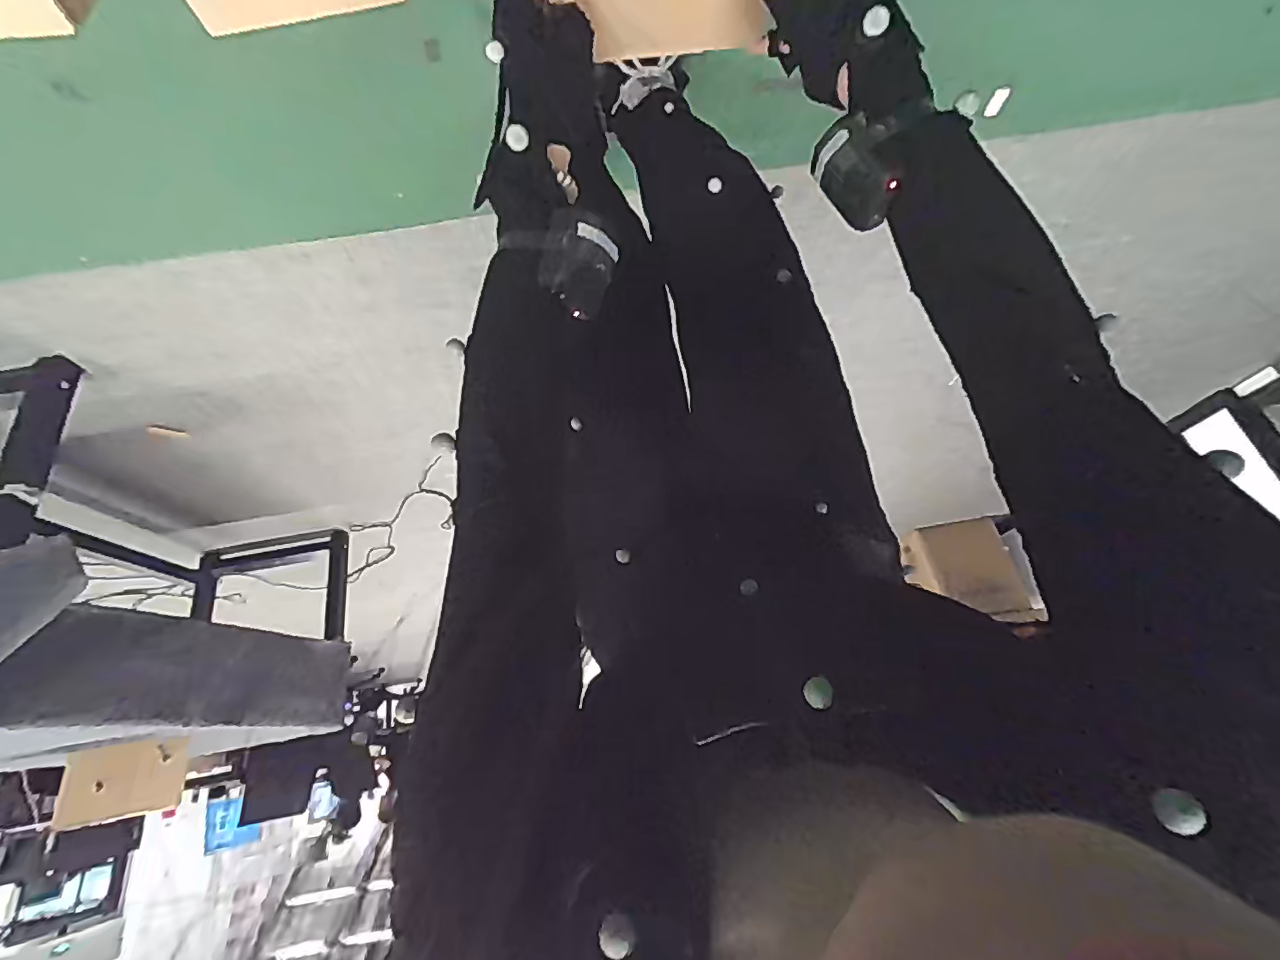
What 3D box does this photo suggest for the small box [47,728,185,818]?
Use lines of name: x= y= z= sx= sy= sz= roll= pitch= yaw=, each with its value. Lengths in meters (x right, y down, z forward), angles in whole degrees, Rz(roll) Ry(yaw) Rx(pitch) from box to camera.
small box: x=-1.303 y=0.731 z=1.362 sx=0.179 sy=0.176 sz=0.168 roll=-9 pitch=156 yaw=-3
